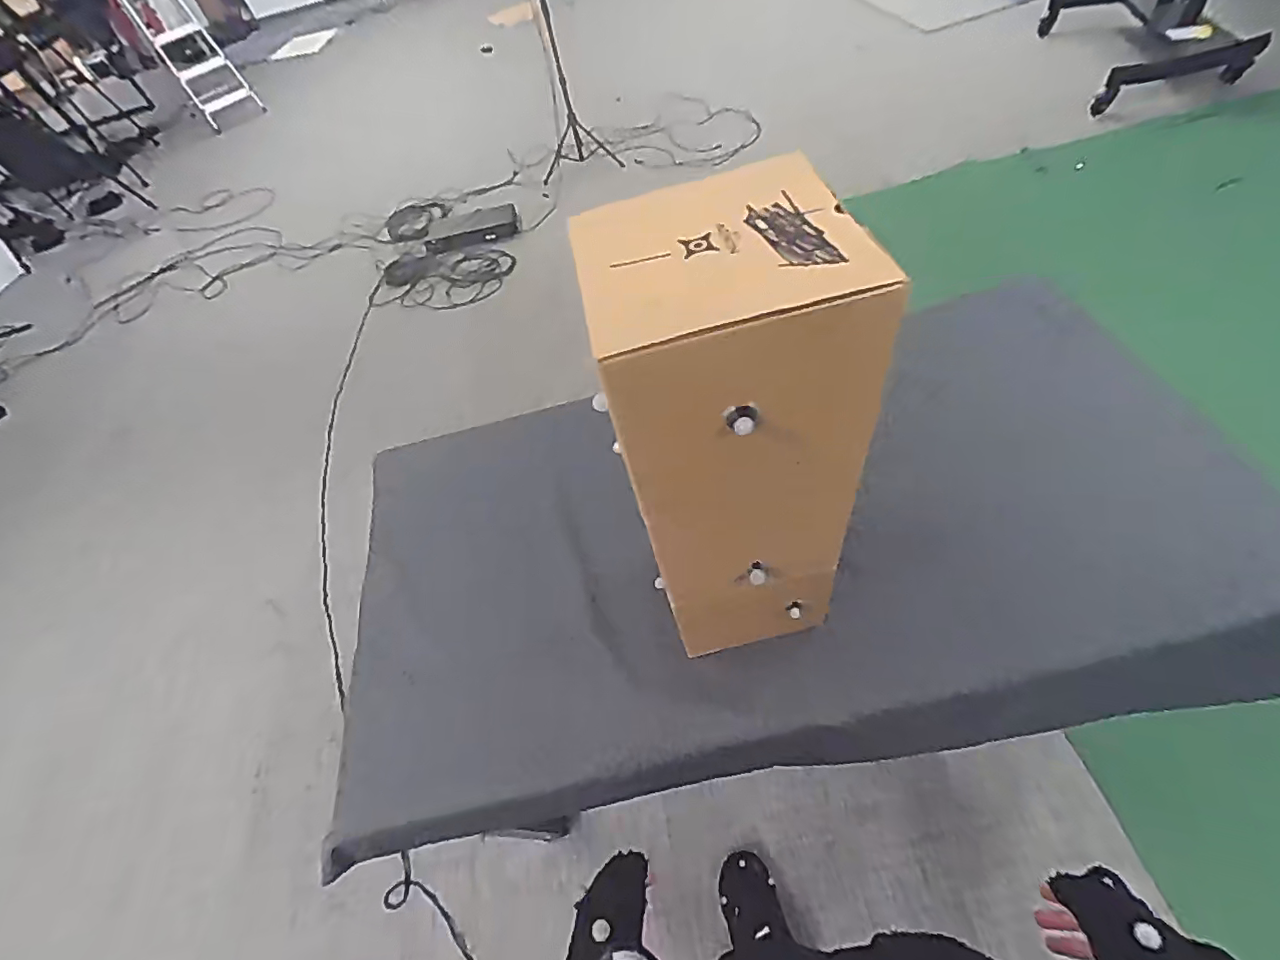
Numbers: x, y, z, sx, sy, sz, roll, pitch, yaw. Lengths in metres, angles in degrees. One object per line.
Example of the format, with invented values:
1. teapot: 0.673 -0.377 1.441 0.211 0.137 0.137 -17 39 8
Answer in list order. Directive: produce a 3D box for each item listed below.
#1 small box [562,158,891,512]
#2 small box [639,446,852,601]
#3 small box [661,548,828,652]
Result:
1. small box: 0.053 -0.099 0.405 0.179 0.176 0.168 -14 53 2
2. small box: 0.082 -0.002 0.538 0.179 0.176 0.168 -17 54 0
3. small box: 0.109 0.091 0.667 0.179 0.176 0.168 -16 52 2
